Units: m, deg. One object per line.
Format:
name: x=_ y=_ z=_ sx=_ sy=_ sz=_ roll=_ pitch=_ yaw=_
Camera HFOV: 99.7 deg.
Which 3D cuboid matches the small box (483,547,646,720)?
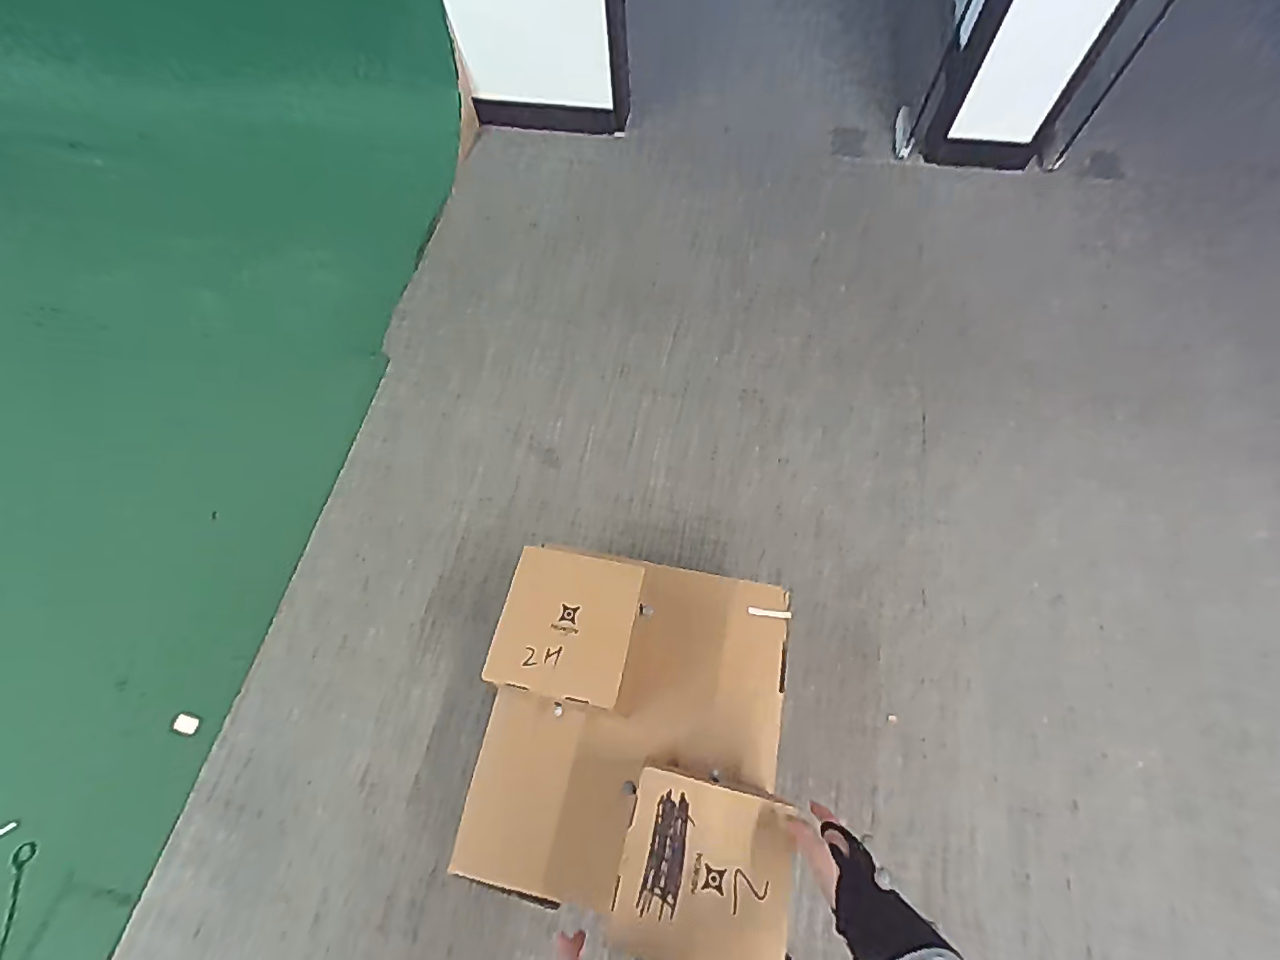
small box: x=-0.089 y=0.214 z=0.738 sx=0.168 sy=0.176 sz=0.179 roll=9 pitch=63 yaw=7
